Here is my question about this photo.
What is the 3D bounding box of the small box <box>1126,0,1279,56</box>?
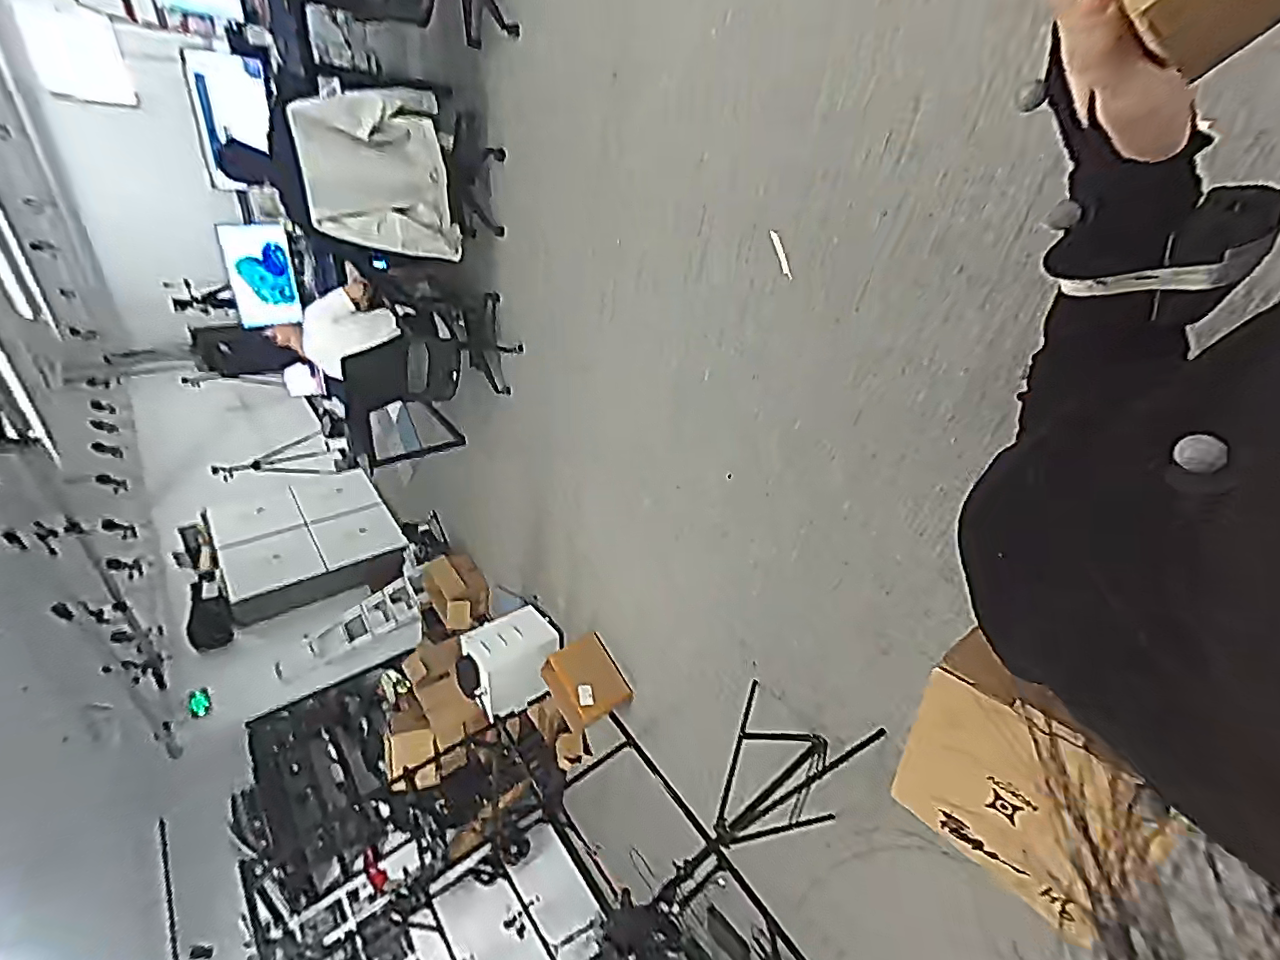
[{"bbox_3d":[0.247,-0.292,0.186,0.168,0.176,0.179,-32,81,52],"label":"small box"}]

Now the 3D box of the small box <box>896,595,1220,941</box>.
[{"bbox_3d":[0.367,0.232,0.484,0.168,0.176,0.179,29,126,44],"label":"small box"}]
